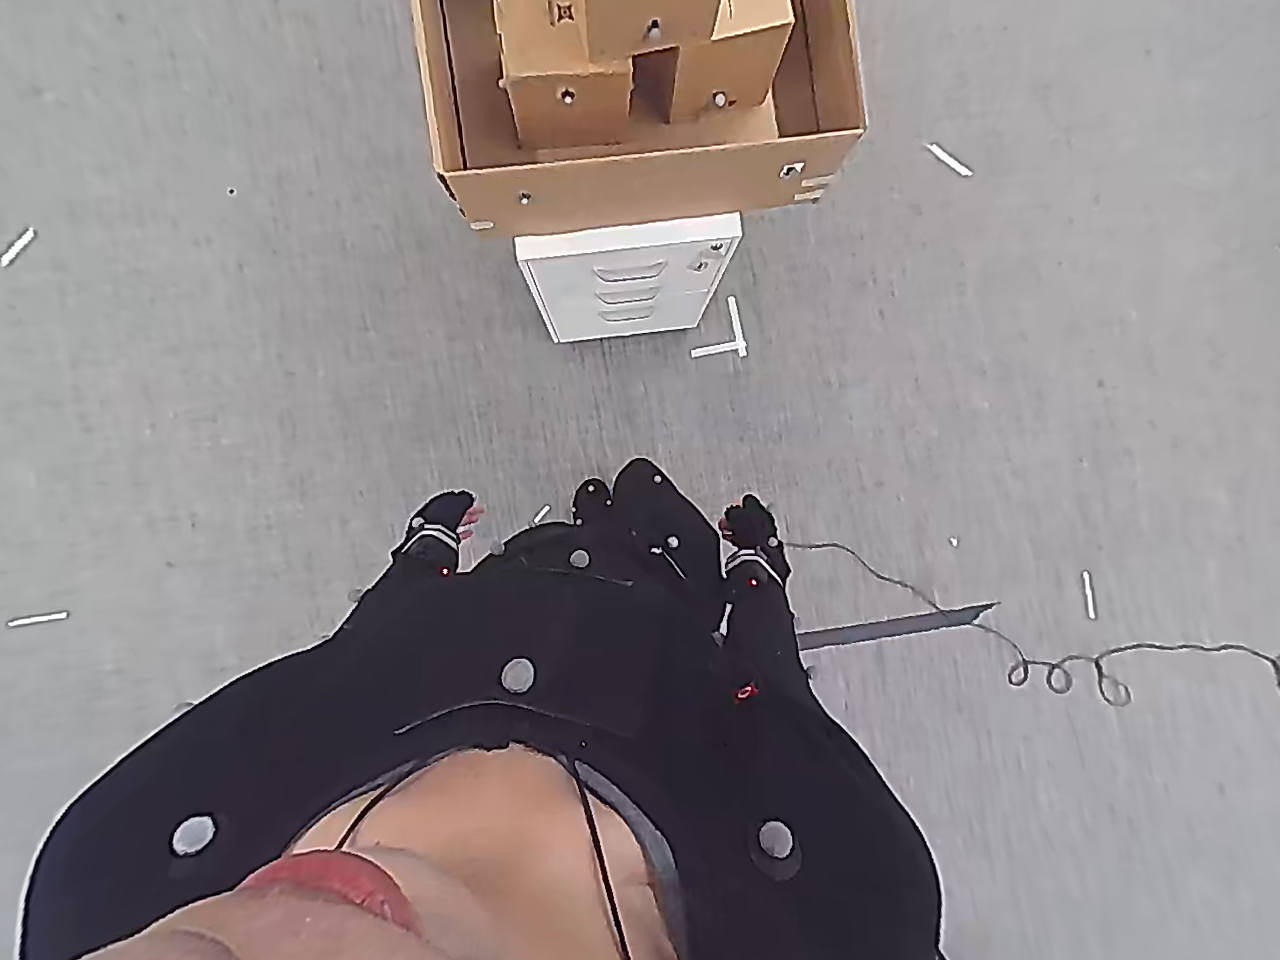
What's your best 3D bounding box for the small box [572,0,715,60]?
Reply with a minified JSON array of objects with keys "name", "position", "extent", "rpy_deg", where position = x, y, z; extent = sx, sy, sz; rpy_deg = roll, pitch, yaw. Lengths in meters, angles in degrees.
[{"name":"small box","position":[0.000,-0.656,0.649],"extent":[0.179,0.176,0.168],"rpy_deg":[-13,91,-3]}]
